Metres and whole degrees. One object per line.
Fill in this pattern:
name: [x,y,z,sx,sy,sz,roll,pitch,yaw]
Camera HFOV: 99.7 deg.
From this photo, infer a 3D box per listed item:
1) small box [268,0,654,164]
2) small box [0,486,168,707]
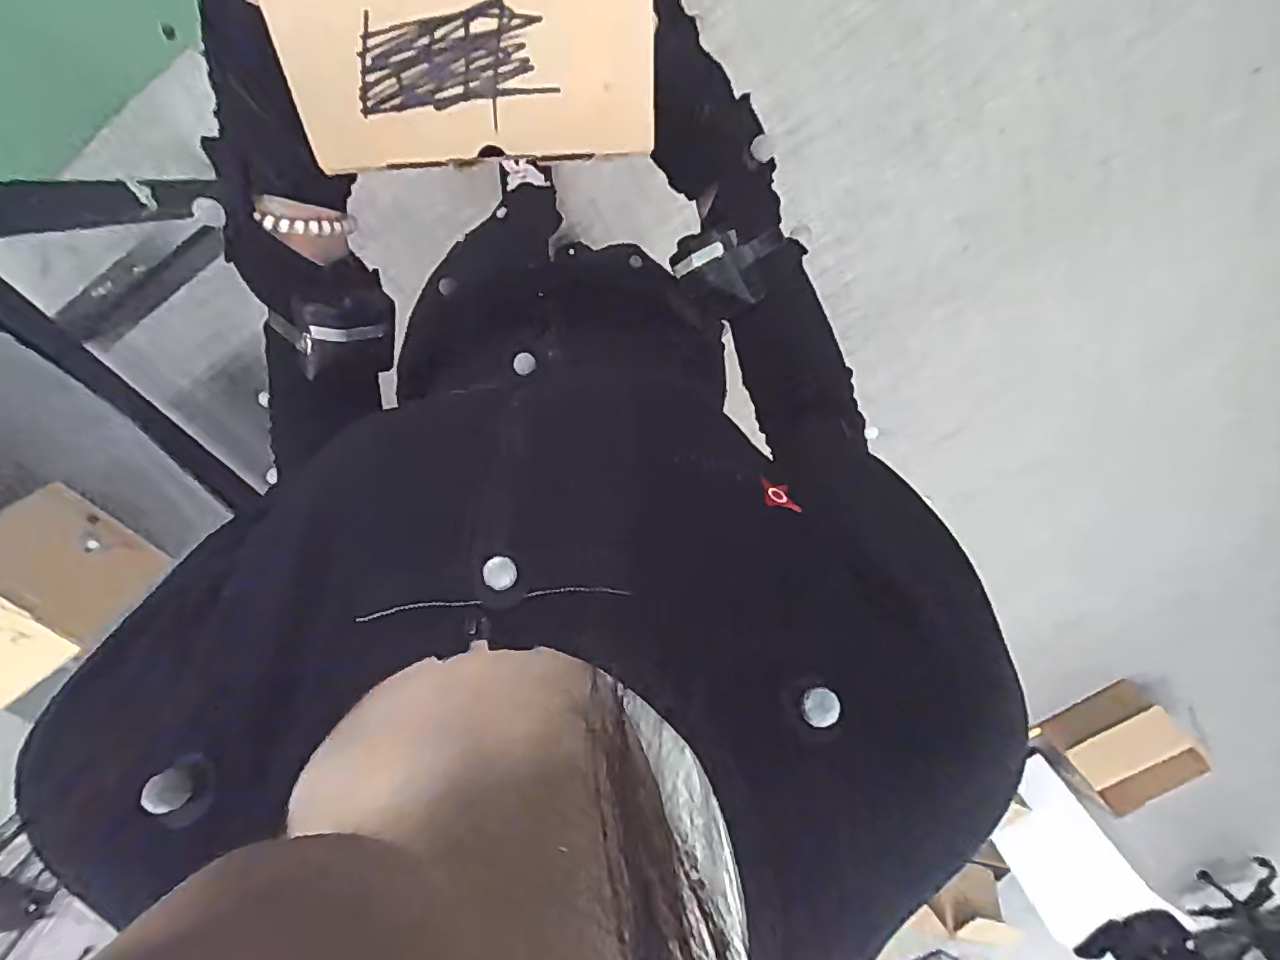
small box: [-0.086,-0.279,0.276,0.168,0.176,0.179,-7,130,-7]
small box: [-0.763,0.141,0.680,0.179,0.176,0.168,-32,119,12]
